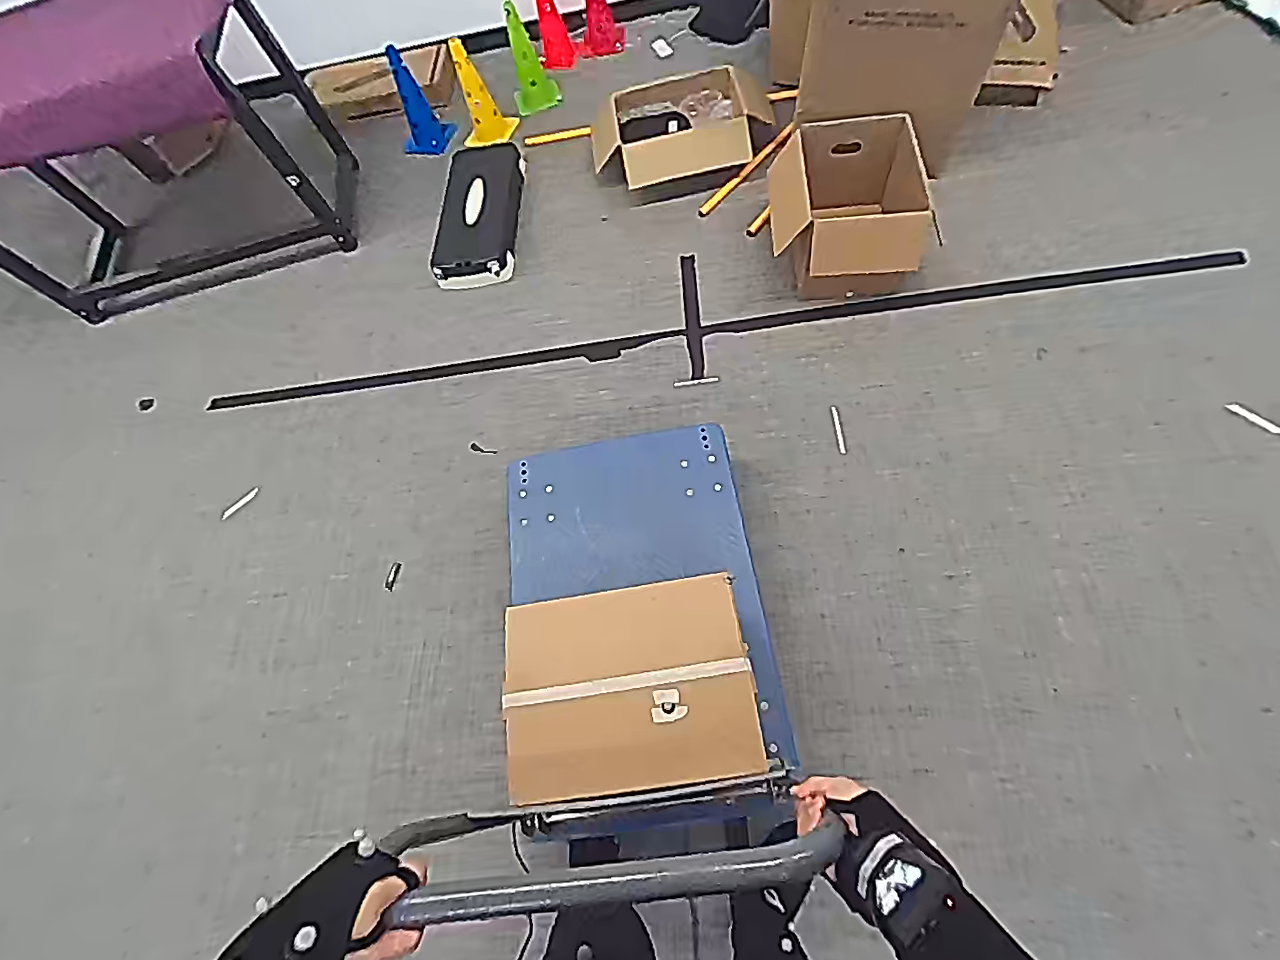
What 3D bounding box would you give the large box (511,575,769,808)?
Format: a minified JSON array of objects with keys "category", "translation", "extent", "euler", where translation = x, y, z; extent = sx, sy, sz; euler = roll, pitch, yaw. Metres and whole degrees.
[{"category":"large box","translation":[0.001,0.403,1.027],"extent":[0.408,0.320,0.320],"euler":[-10,64,4]}]
